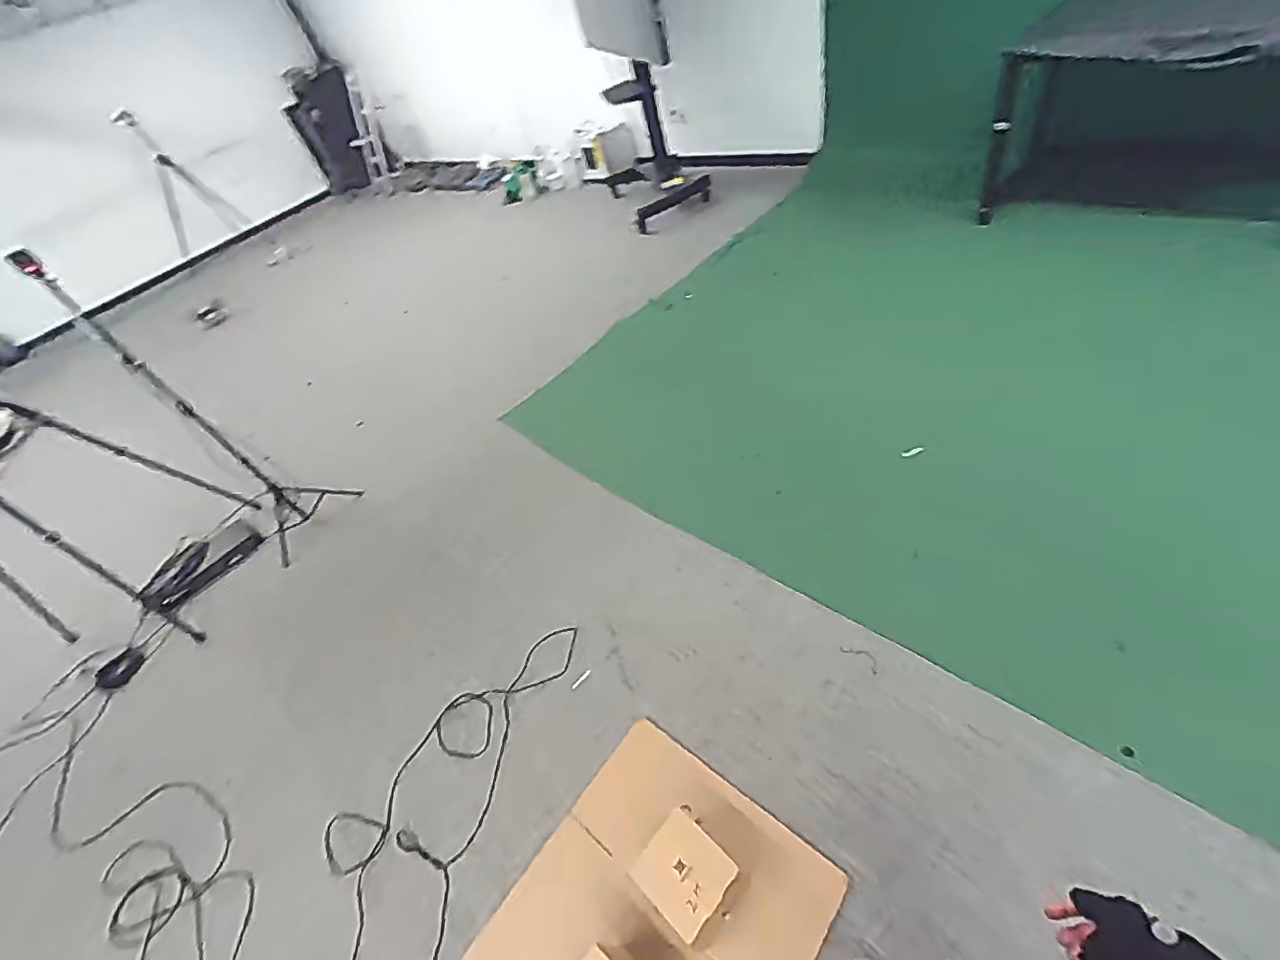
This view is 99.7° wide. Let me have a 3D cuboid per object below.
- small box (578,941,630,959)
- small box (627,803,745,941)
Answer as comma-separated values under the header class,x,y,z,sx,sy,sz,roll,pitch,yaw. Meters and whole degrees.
class,x,y,z,sx,sy,sz,roll,pitch,yaw
small box,-0.058,1.037,1.037,0.179,0.176,0.168,21,58,35
small box,0.104,0.847,1.164,0.179,0.176,0.168,29,63,37
